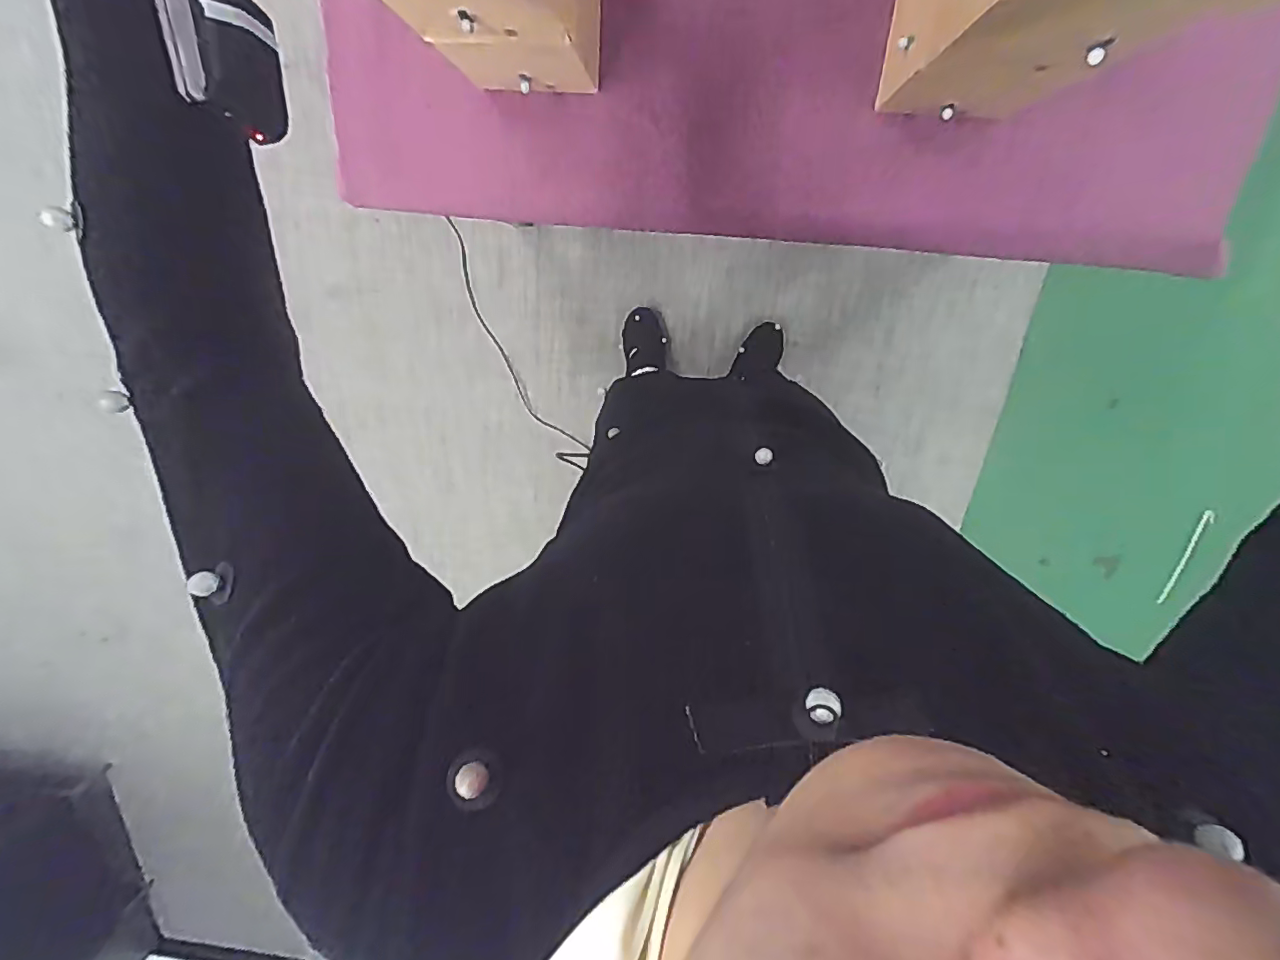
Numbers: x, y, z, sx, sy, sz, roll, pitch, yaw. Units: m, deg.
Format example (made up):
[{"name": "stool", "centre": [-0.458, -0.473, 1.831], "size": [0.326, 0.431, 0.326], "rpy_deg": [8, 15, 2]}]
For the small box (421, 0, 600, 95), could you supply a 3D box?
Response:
[{"name": "small box", "centre": [-0.142, -0.582, 0.629], "size": [0.168, 0.176, 0.179], "rpy_deg": [6, 111, 5]}]

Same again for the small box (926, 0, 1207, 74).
[{"name": "small box", "centre": [0.360, -0.461, 0.440], "size": [0.168, 0.176, 0.179], "rpy_deg": [6, 111, 5]}]

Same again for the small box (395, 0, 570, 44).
[{"name": "small box", "centre": [-0.158, -0.527, 0.477], "size": [0.168, 0.176, 0.179], "rpy_deg": [4, 111, 4]}]
